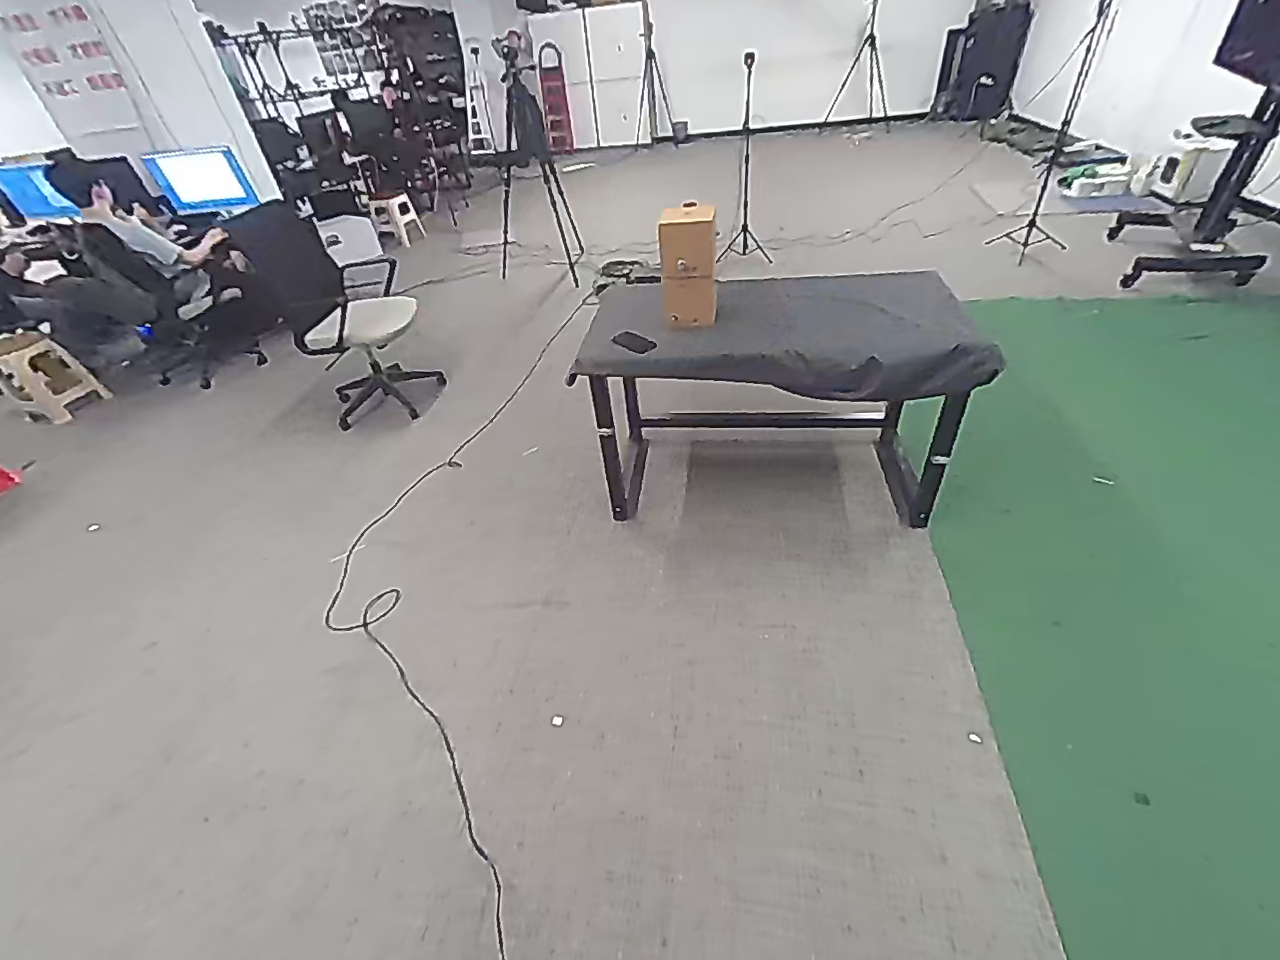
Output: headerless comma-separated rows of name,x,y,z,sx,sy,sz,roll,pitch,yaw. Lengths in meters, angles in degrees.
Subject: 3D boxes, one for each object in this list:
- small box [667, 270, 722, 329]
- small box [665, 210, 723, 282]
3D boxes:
small box,0.189,-0.619,1.816,0.168,0.176,0.179,3,39,11
small box,0.175,-0.740,1.710,0.168,0.176,0.179,1,41,11
